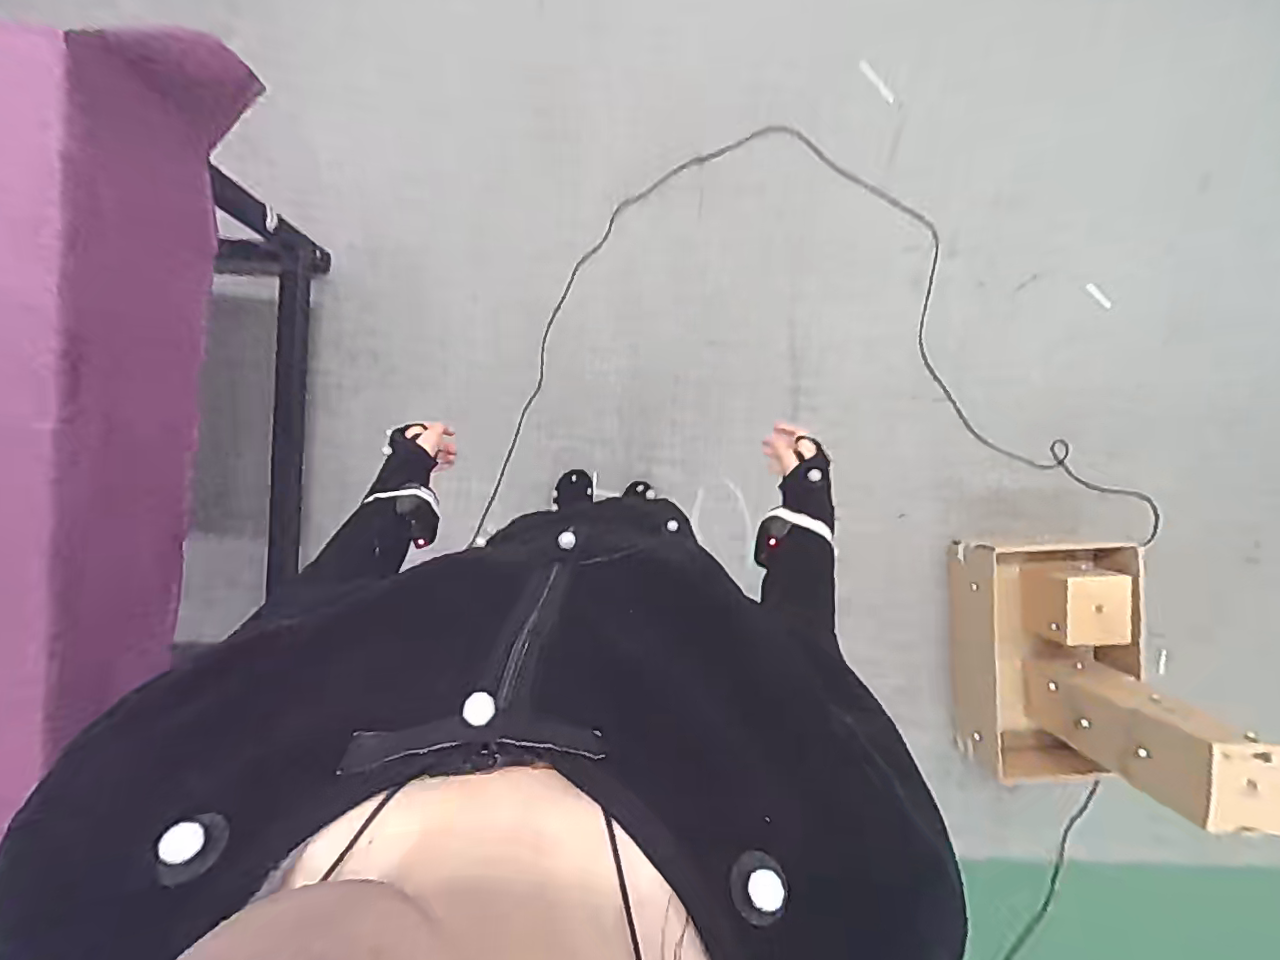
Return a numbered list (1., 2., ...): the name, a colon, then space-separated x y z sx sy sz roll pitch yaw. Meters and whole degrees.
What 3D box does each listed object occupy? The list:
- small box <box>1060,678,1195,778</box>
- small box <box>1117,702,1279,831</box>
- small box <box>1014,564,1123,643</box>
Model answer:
1. small box: 1.159 0.586 1.295 0.179 0.176 0.168 0 91 -2
2. small box: 1.152 0.590 1.129 0.168 0.176 0.179 4 92 -2
3. small box: 1.140 0.323 1.449 0.168 0.176 0.179 -2 93 -1
